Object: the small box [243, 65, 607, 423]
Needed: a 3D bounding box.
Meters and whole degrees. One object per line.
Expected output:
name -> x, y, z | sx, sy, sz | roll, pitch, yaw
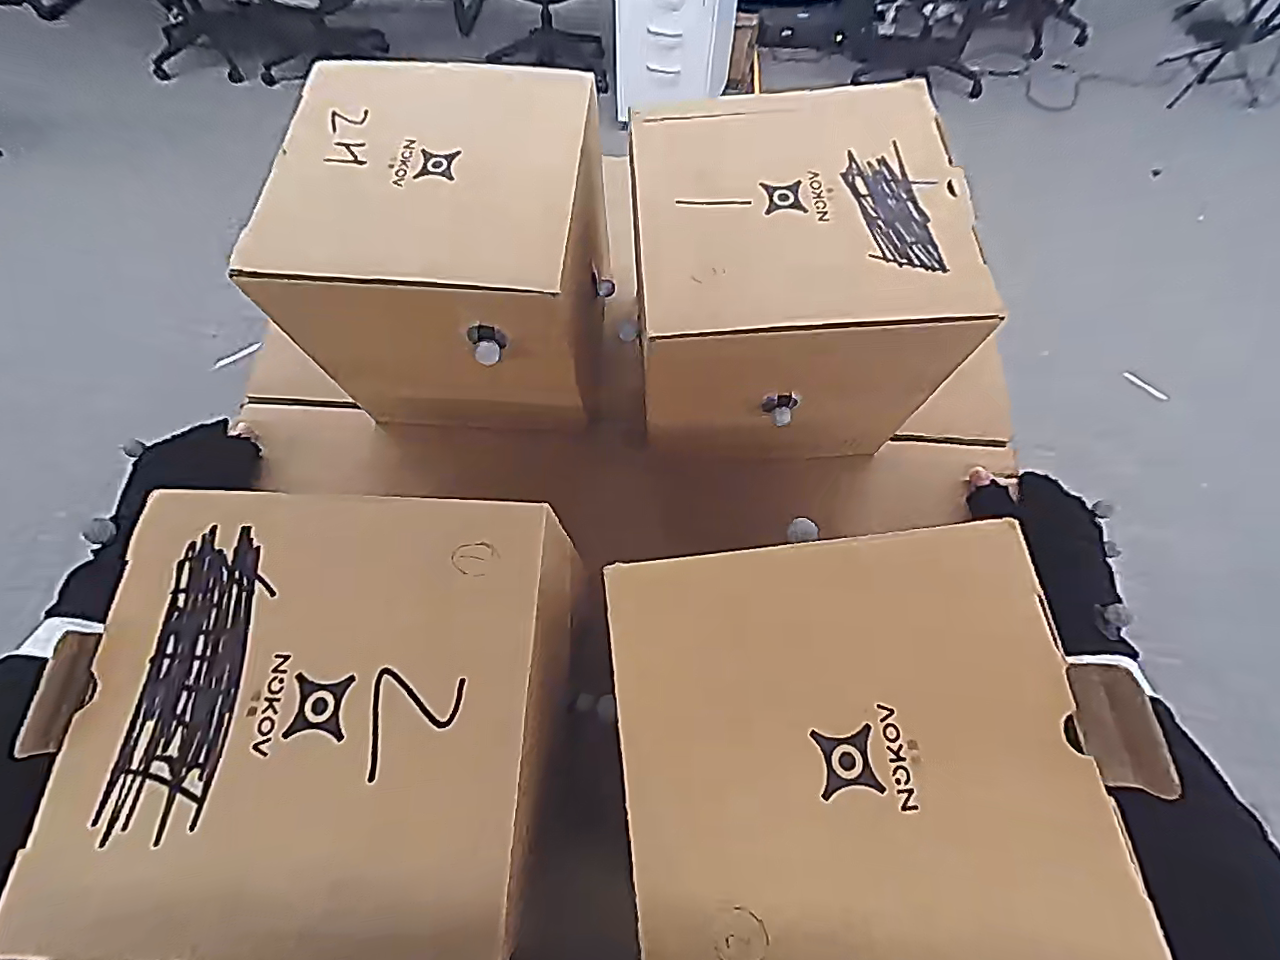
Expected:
small box -> -0.121, -0.153, 0.391 | 0.179, 0.176, 0.168 | 5, 69, 3
